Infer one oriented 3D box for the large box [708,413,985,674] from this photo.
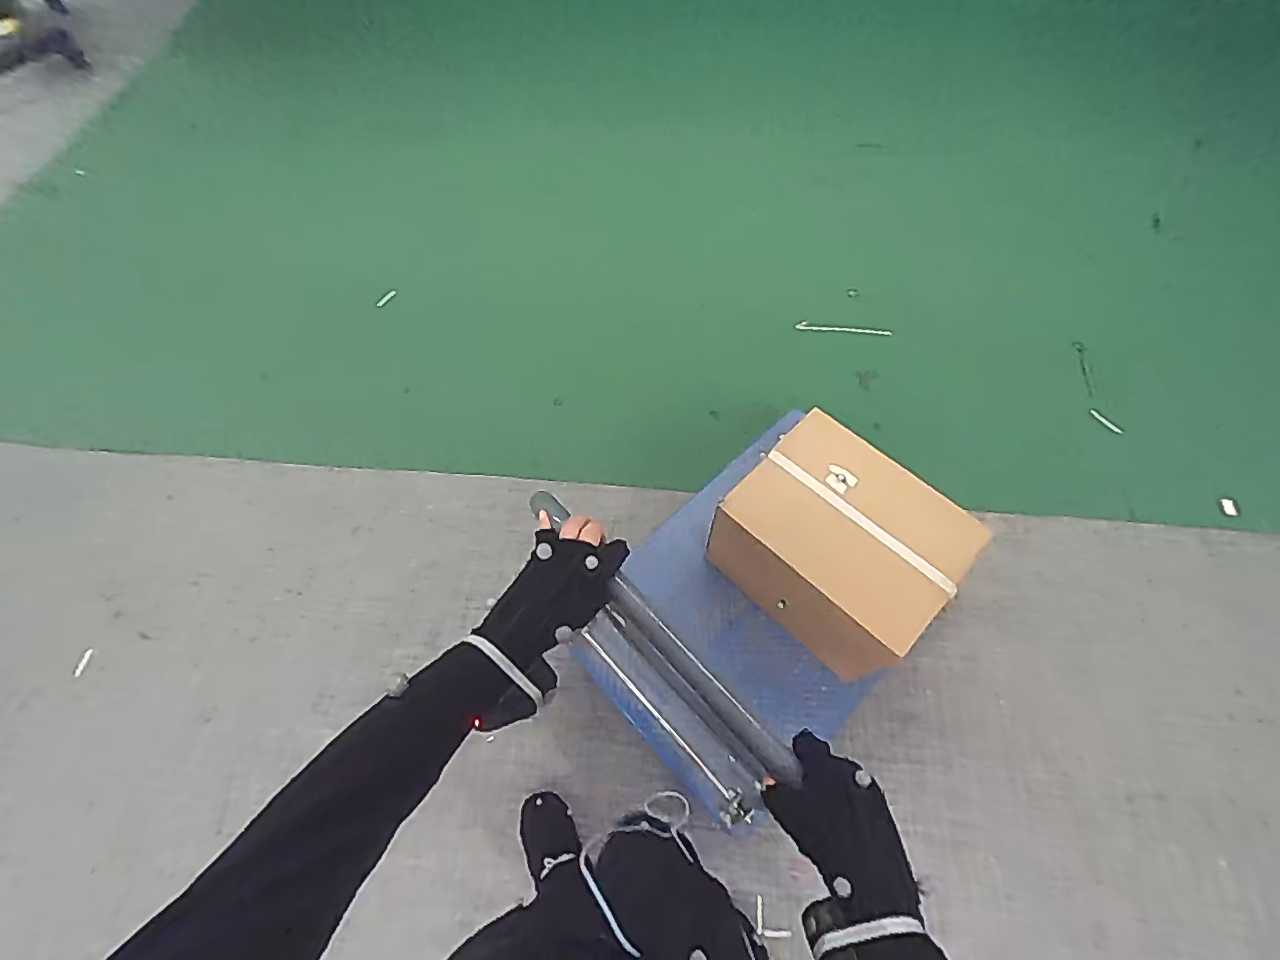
[{"bbox_3d":[0.400,0.142,1.148,0.408,0.320,0.320,40,70,20],"label":"large box"}]
